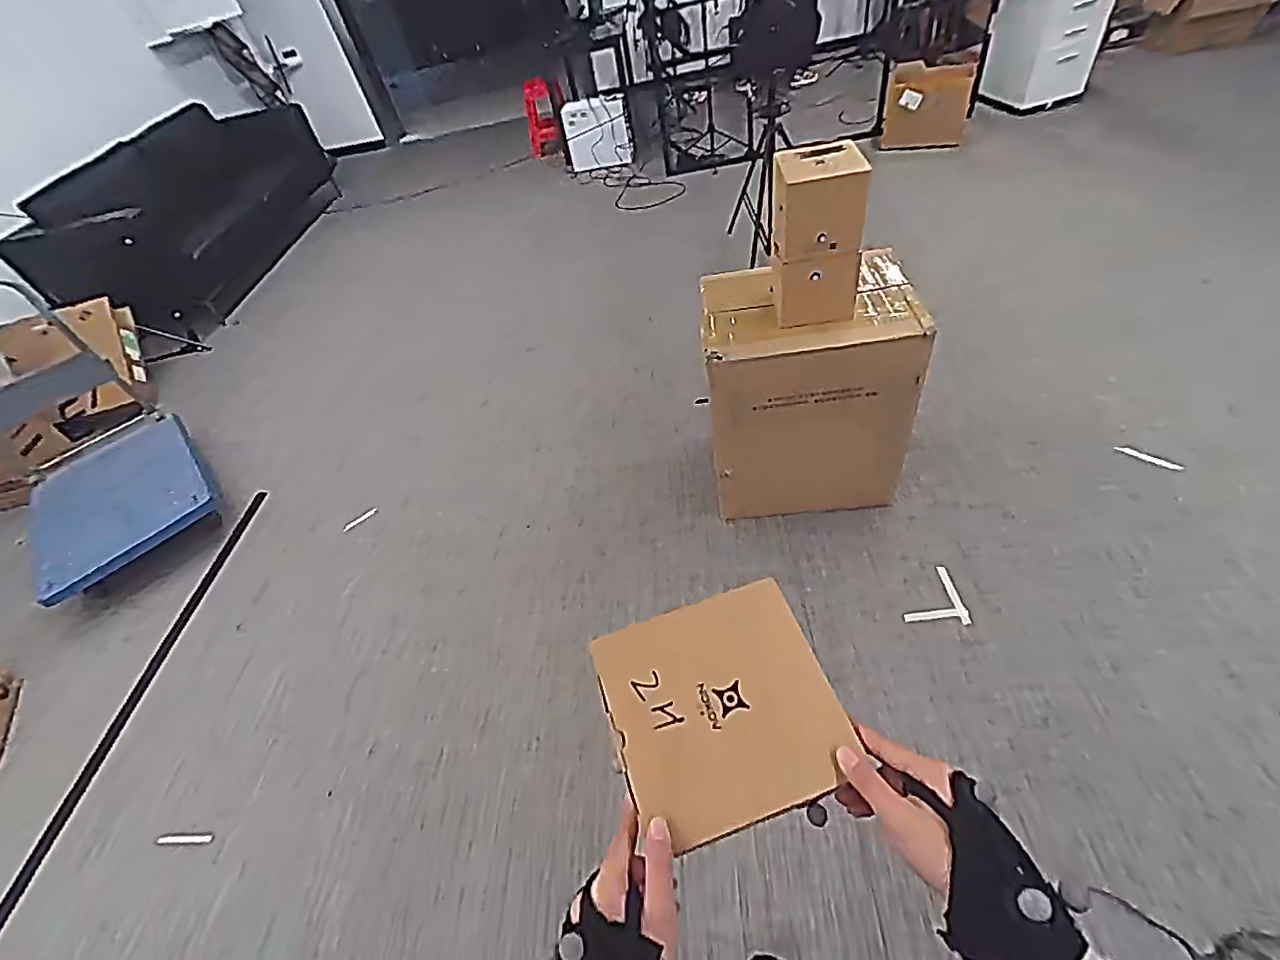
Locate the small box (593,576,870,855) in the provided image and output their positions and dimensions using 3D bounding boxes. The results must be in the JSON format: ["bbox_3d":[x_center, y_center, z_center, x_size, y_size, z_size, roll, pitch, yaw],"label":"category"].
[{"bbox_3d":[0.070,0.216,0.493,0.179,0.176,0.168,-18,55,-6],"label":"small box"}]

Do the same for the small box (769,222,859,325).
[{"bbox_3d":[0.409,-0.489,1.296,0.179,0.176,0.168,-5,48,8],"label":"small box"}]
